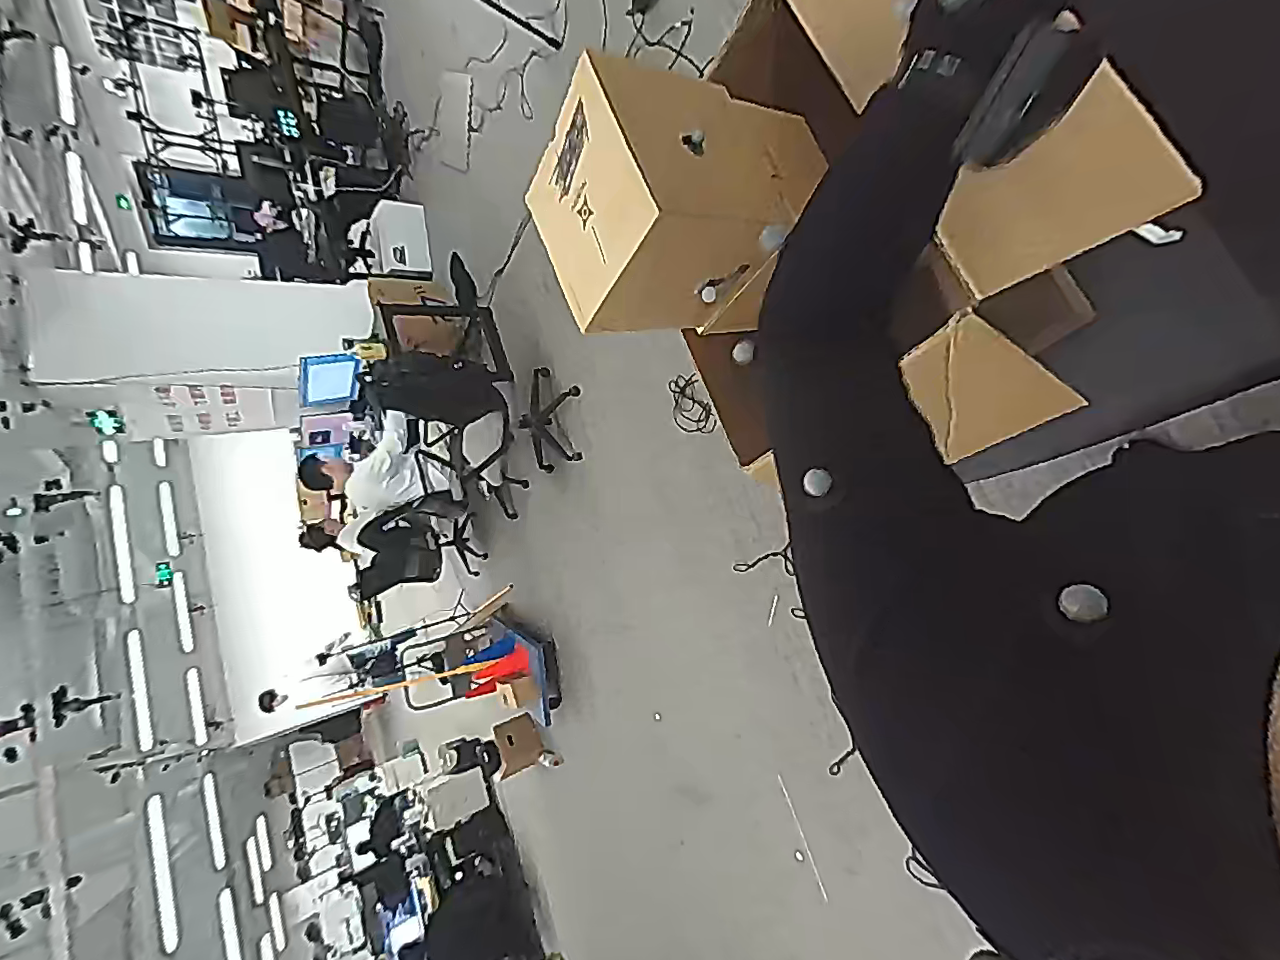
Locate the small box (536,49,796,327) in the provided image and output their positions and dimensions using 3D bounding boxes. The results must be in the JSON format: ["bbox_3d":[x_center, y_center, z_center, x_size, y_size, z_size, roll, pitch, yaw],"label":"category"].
[{"bbox_3d":[0.022,-0.277,0.551,0.168,0.176,0.179,-38,71,54],"label":"small box"}]
